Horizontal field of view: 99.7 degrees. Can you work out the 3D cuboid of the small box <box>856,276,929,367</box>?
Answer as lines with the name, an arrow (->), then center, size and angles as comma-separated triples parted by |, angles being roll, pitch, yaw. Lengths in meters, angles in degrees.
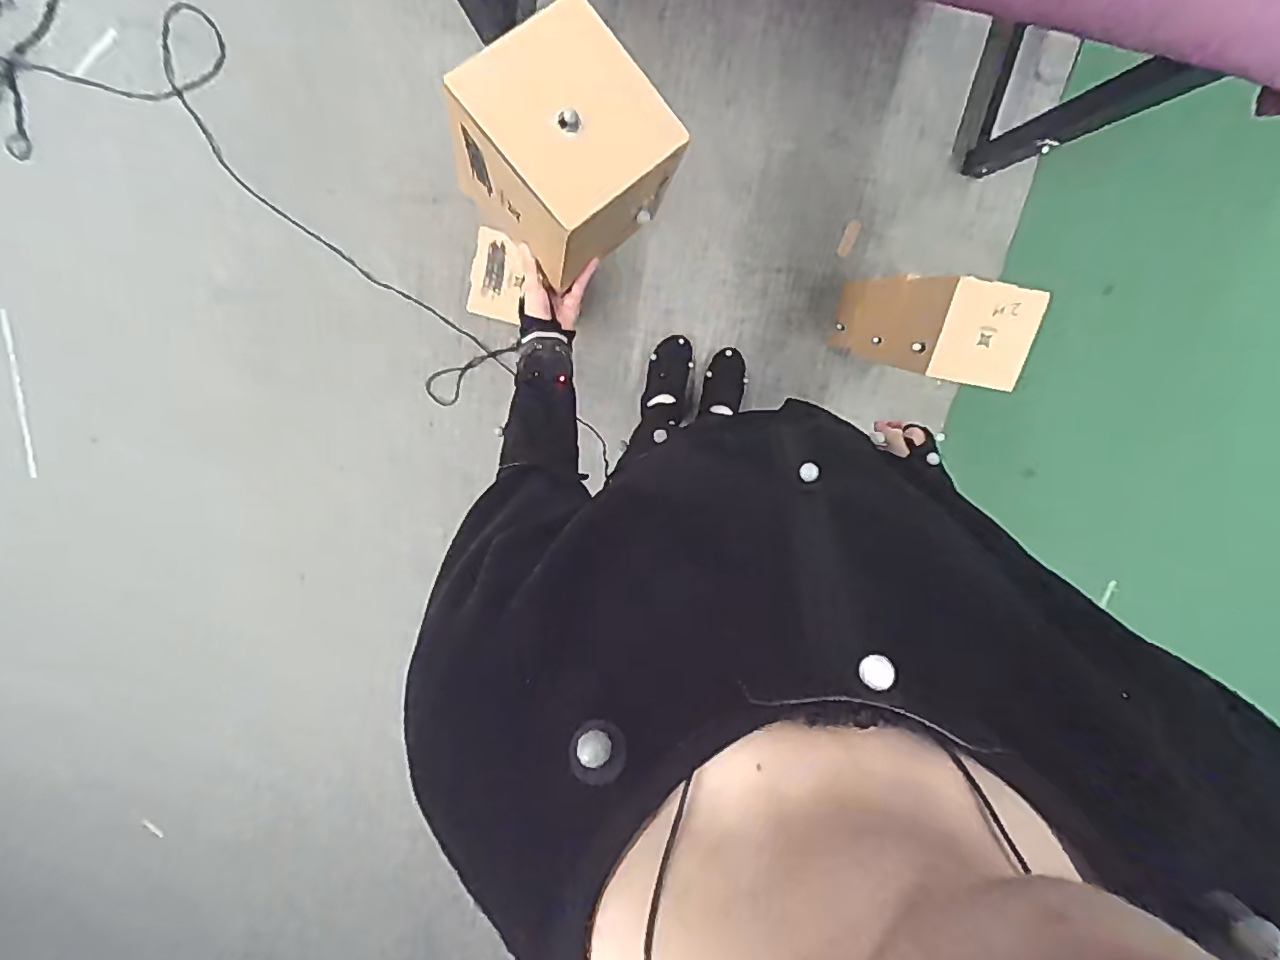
small box -> 0.593, -0.332, 1.171 | 0.168, 0.176, 0.179 | 9, 108, -3

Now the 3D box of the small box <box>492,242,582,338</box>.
small box -> -0.243, -0.456, 1.310 | 0.168, 0.176, 0.179 | 14, 107, -4

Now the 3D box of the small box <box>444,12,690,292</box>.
small box -> -0.078, -0.347, 0.585 | 0.176, 0.168, 0.179 | -43, 97, -10

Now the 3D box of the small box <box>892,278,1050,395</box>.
small box -> 0.604, -0.272, 1.017 | 0.168, 0.176, 0.179 | 10, 108, -3

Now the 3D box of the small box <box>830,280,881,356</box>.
small box -> 0.590, -0.382, 1.324 | 0.179, 0.176, 0.168 | 12, 107, -3
